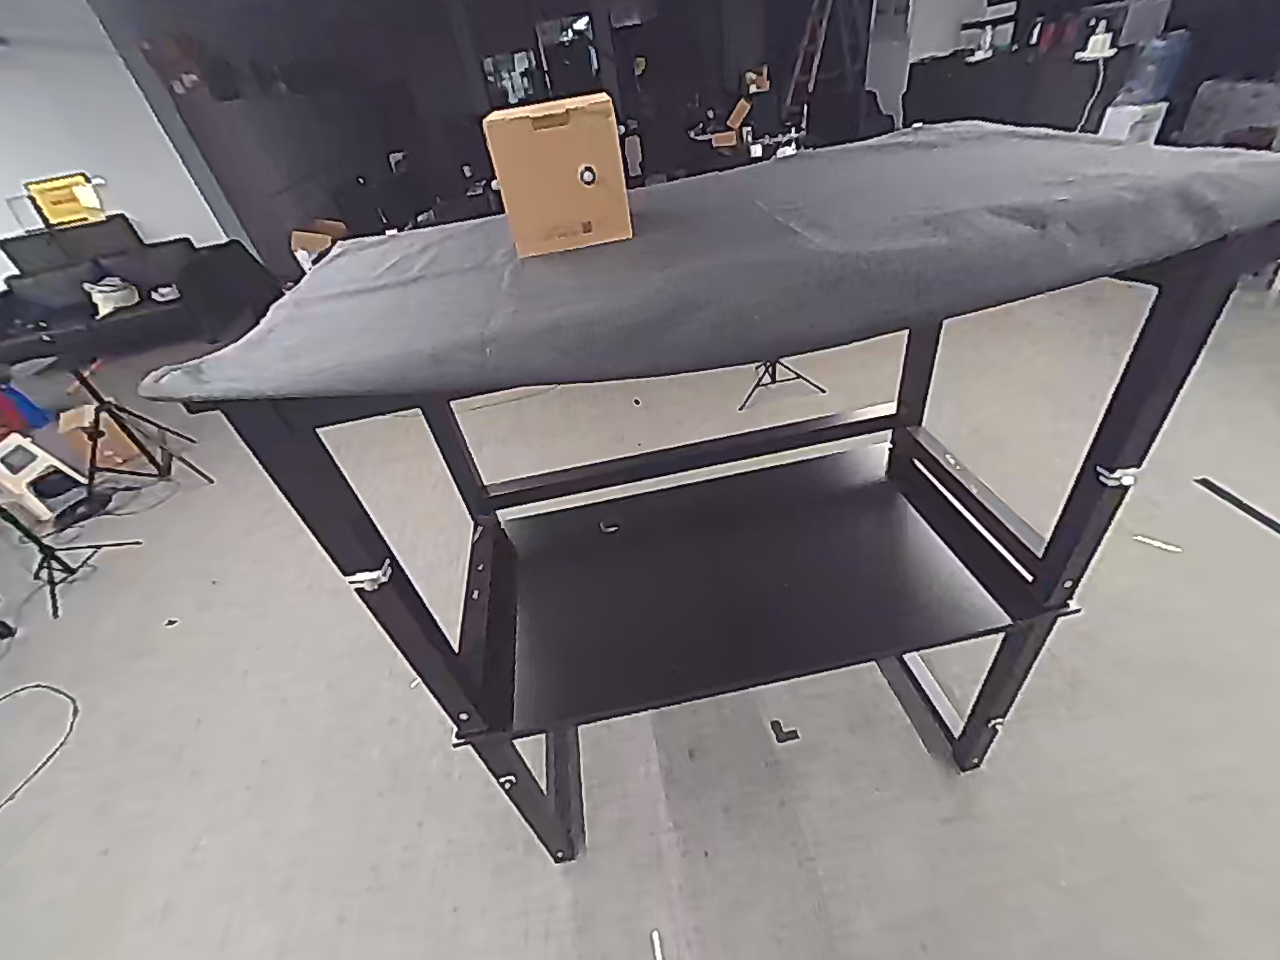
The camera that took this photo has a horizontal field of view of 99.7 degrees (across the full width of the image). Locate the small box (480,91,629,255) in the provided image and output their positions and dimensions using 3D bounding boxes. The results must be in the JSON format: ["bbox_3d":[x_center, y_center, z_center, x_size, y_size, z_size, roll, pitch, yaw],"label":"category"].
[{"bbox_3d":[-0.113,-0.433,0.772,0.168,0.176,0.179,-10,39,0],"label":"small box"}]
